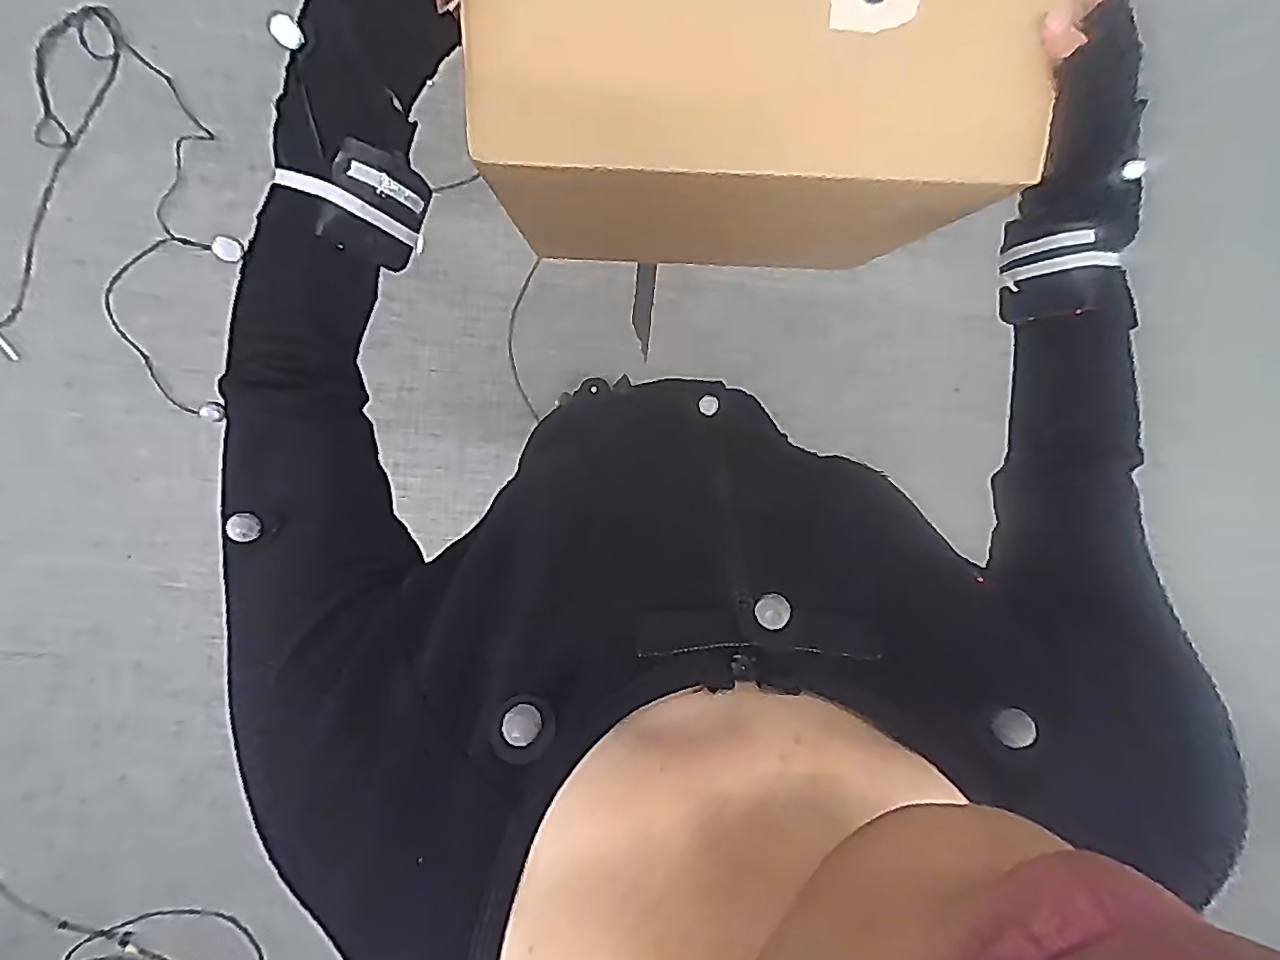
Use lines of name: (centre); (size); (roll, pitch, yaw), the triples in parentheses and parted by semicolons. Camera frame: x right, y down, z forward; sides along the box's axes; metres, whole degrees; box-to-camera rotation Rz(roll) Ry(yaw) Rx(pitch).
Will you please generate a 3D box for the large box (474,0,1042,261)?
large box: (0.076, -0.403, 0.510); (0.408, 0.320, 0.320); (1, 101, -3)
